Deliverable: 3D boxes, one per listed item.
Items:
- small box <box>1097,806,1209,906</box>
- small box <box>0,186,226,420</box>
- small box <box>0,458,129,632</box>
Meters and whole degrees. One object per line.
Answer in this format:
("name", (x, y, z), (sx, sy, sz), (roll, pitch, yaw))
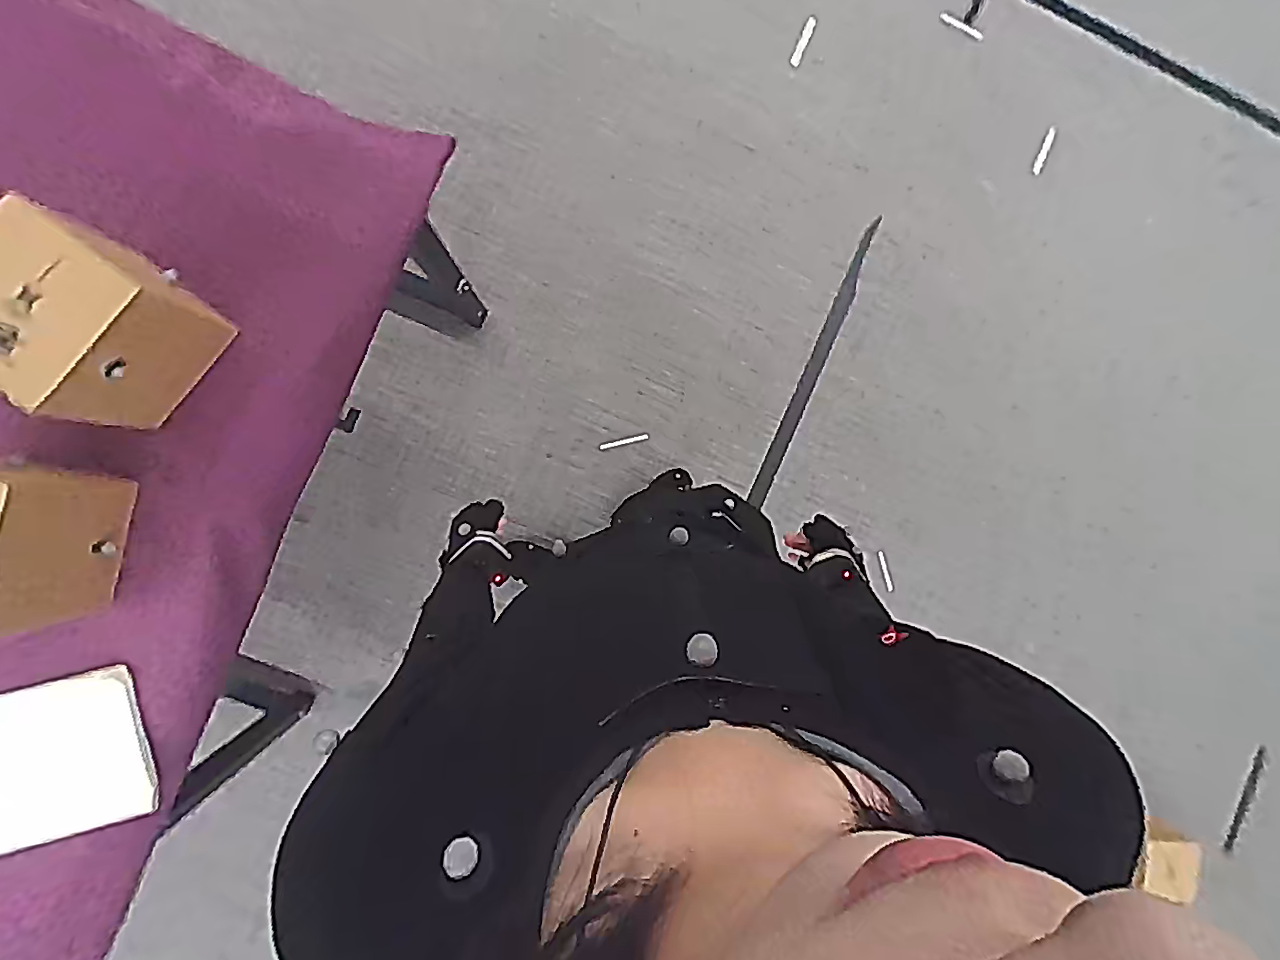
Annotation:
("small box", (1.475, 1.084, 1.565), (0.168, 0.176, 0.179), (4, 89, -5))
("small box", (-0.658, -0.190, 0.643), (0.168, 0.176, 0.179), (38, 86, -3))
("small box", (-0.765, 0.067, 0.635), (0.168, 0.176, 0.179), (11, 88, -4))
